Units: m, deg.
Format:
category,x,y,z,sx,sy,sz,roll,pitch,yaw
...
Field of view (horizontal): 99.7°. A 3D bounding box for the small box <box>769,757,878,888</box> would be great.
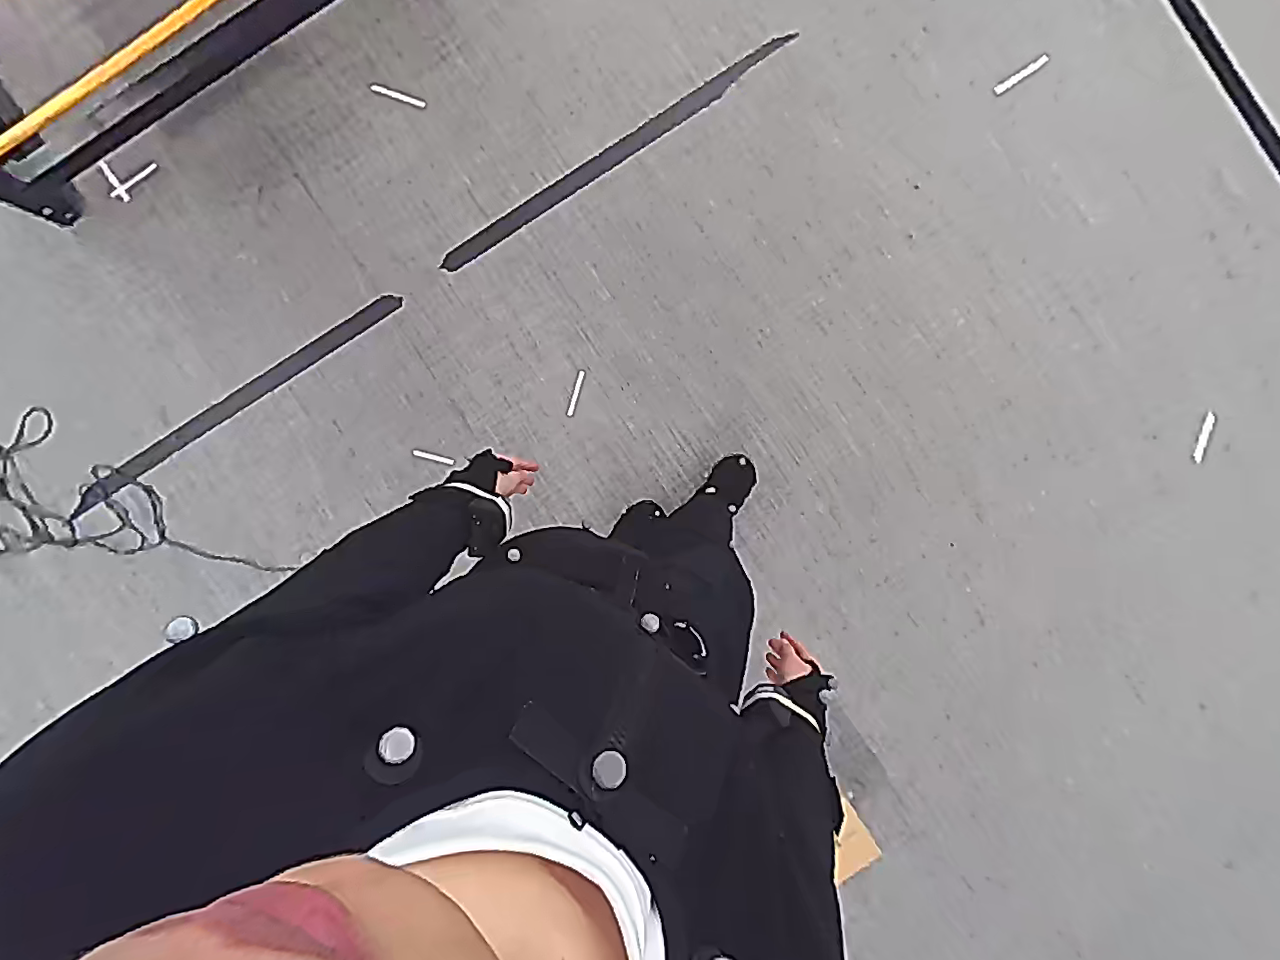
category,x,y,z,sx,sy,sz,roll,pitch,yaw
small box,0.435,0.826,1.322,0.179,0.176,0.168,-33,91,0
